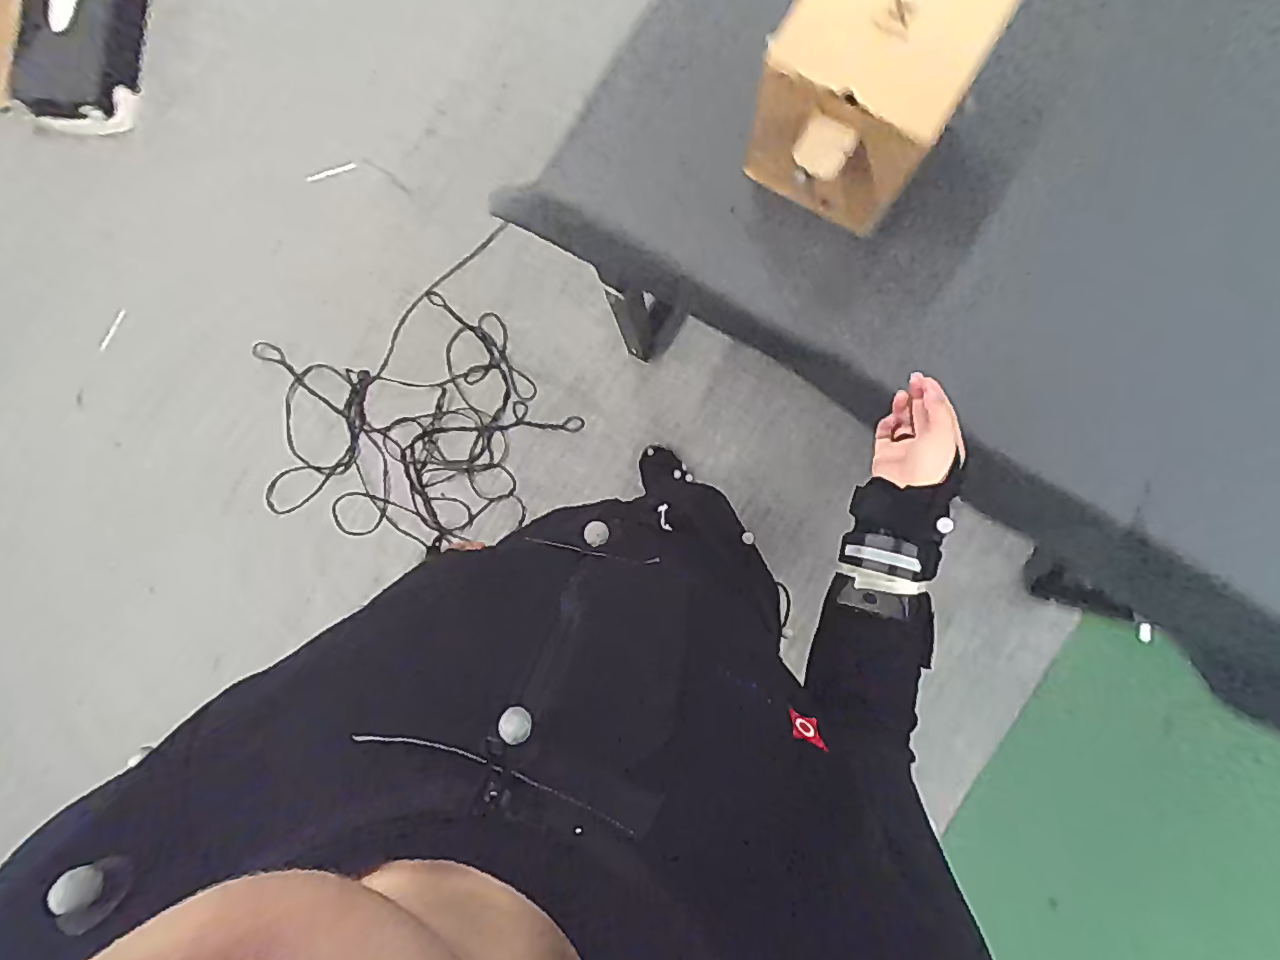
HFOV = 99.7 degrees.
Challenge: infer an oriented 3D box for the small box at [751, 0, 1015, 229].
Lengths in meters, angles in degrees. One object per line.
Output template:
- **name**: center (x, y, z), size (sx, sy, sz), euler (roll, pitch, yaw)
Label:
- **small box**: center (0.229, -0.403, 0.554), size (0.168, 0.176, 0.179), euler (30, 91, 5)
